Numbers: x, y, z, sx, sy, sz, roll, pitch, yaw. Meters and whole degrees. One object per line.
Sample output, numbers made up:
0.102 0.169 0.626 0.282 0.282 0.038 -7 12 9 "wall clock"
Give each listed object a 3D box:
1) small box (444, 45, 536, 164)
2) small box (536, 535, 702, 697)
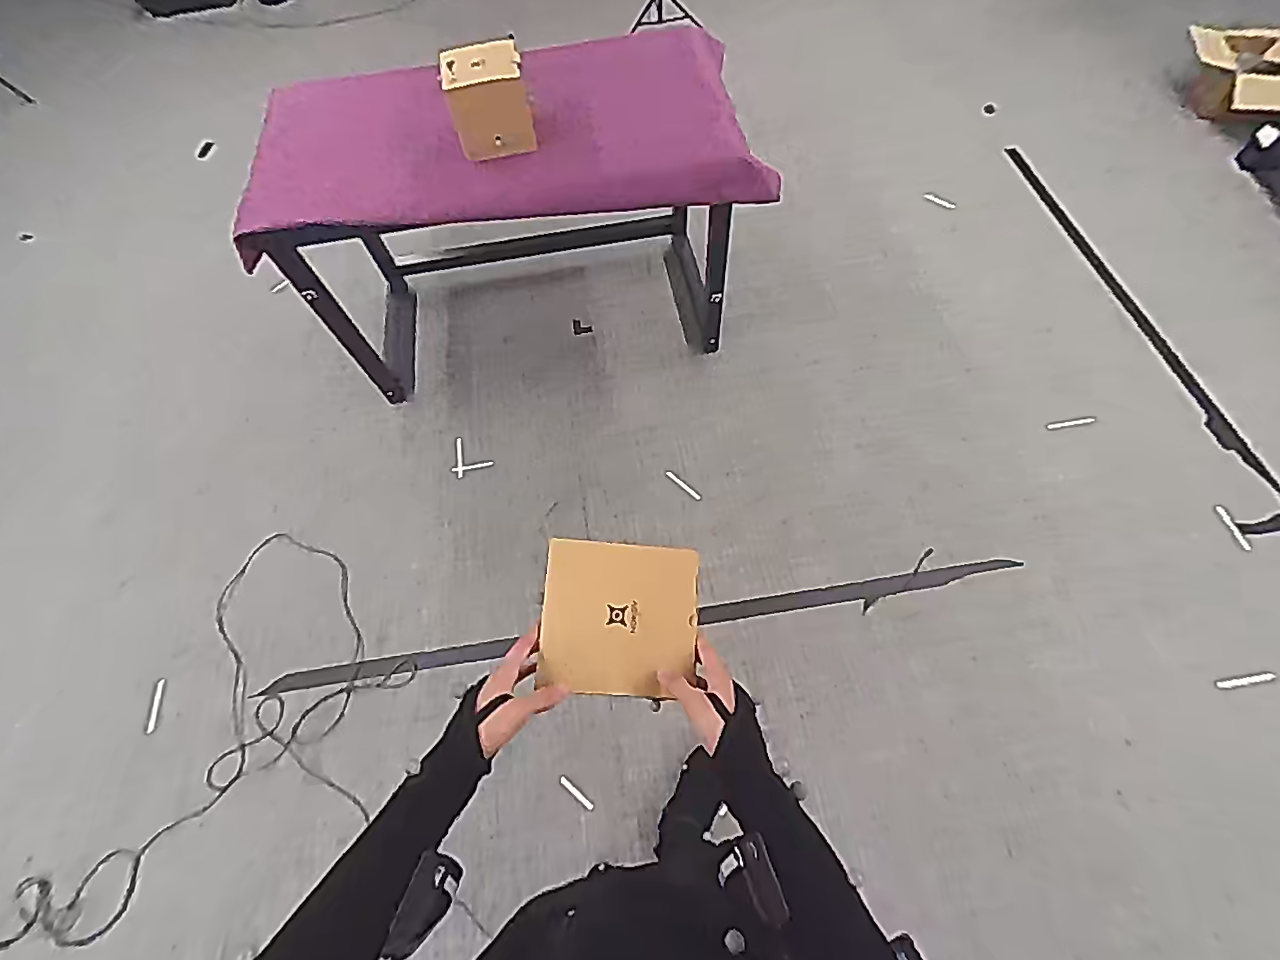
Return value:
-0.353 -0.893 1.292 0.179 0.176 0.168 -12 62 -3 "small box"
-0.029 0.174 0.669 0.179 0.176 0.168 6 70 -7 "small box"
